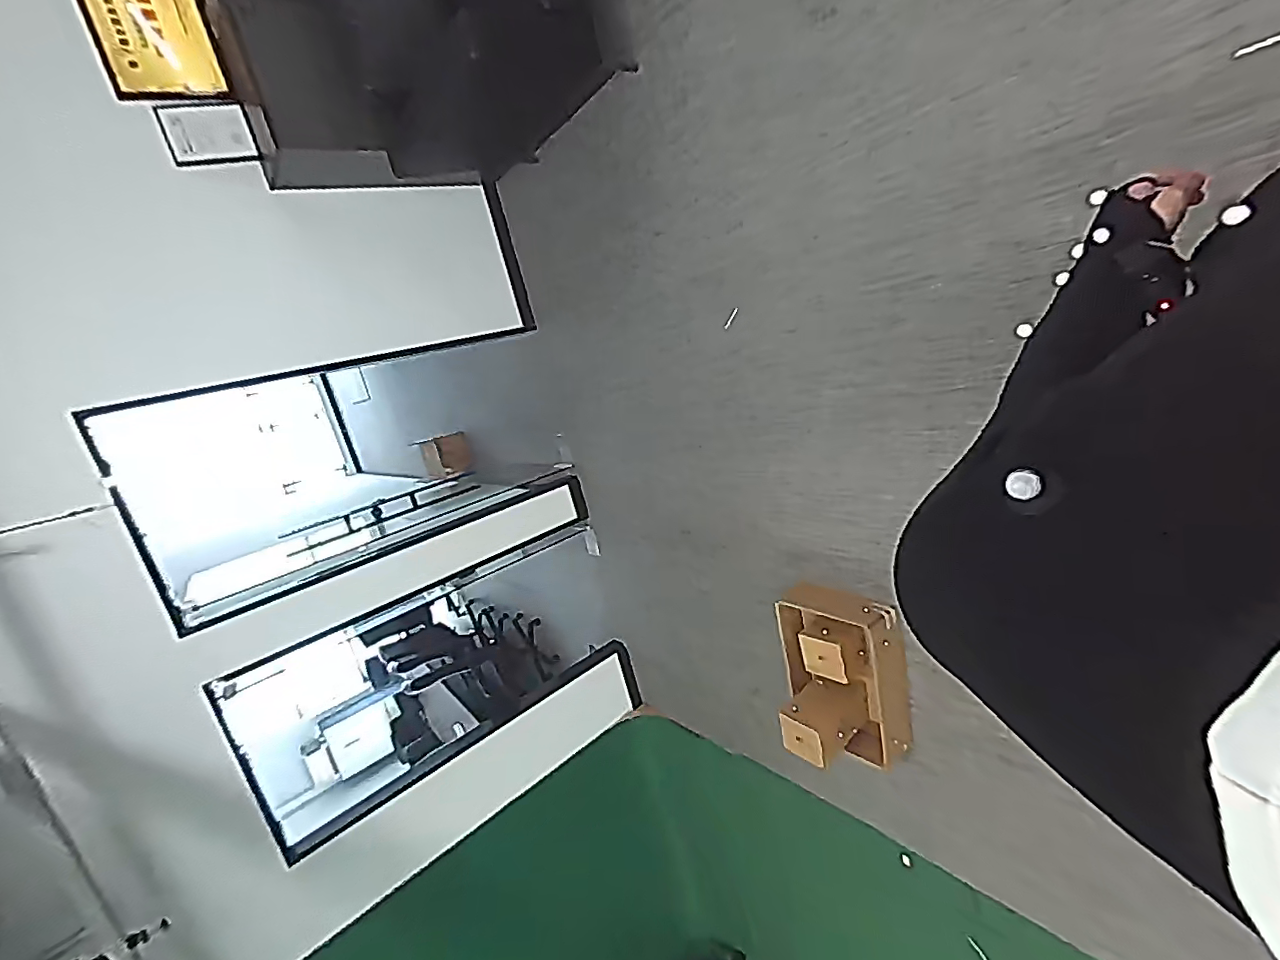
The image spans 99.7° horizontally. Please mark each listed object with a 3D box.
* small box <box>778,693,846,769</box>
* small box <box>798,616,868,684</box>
[{"bbox_3d":[0.649,0.932,2.032,0.179,0.176,0.168,8,114,51],"label":"small box"},{"bbox_3d":[0.733,0.636,2.050,0.179,0.176,0.168,1,109,51],"label":"small box"}]
